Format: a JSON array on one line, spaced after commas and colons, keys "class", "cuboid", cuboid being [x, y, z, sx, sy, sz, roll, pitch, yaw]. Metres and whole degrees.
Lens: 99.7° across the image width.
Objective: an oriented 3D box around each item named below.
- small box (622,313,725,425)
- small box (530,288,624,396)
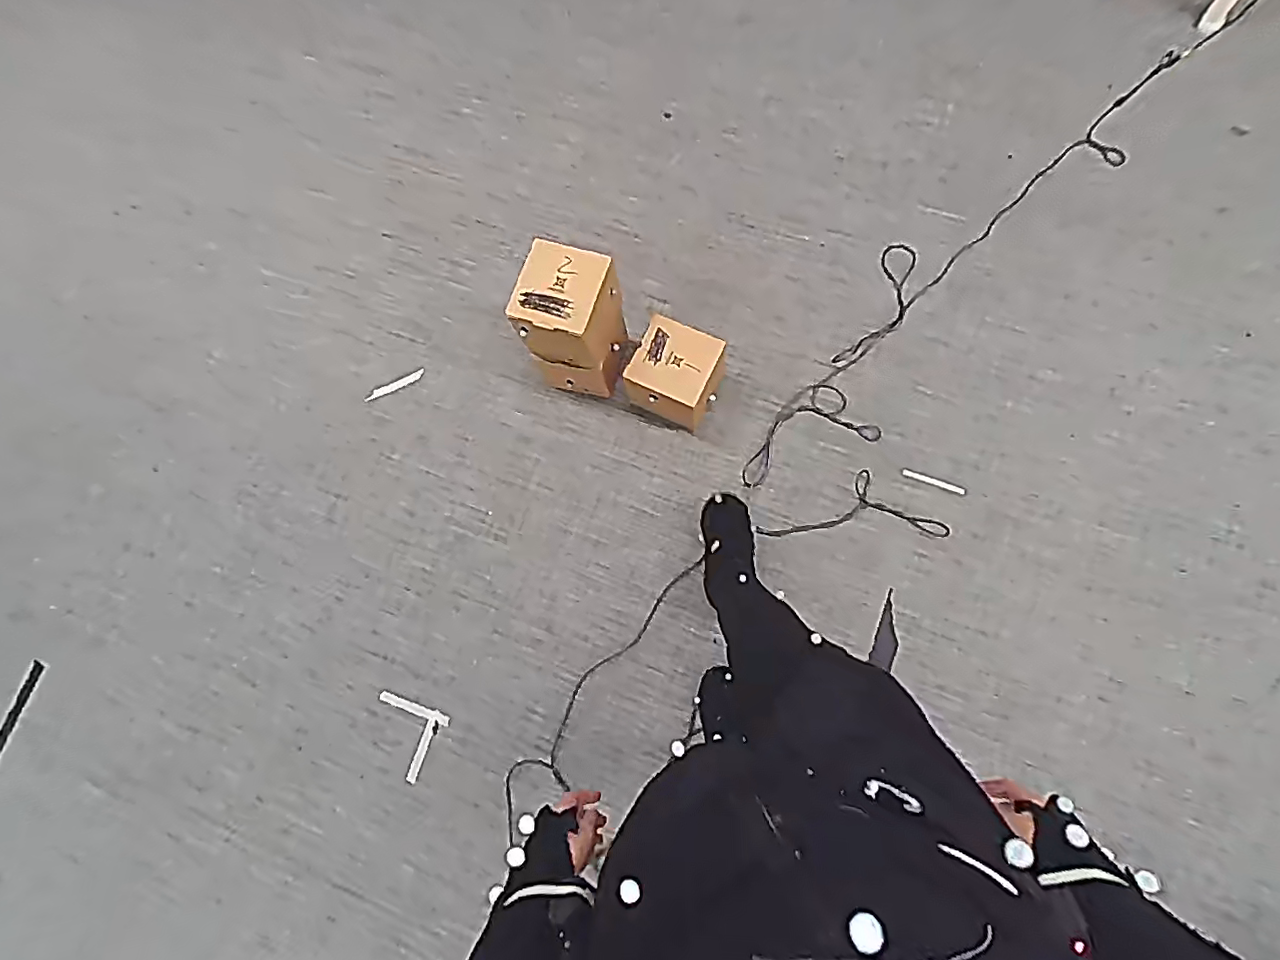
[{"class": "small box", "cuboid": [0.079, -0.244, 1.239, 0.179, 0.176, 0.168, 25, 82, 10]}, {"class": "small box", "cuboid": [-0.139, -0.320, 1.280, 0.168, 0.176, 0.179, 13, 80, 8]}]
